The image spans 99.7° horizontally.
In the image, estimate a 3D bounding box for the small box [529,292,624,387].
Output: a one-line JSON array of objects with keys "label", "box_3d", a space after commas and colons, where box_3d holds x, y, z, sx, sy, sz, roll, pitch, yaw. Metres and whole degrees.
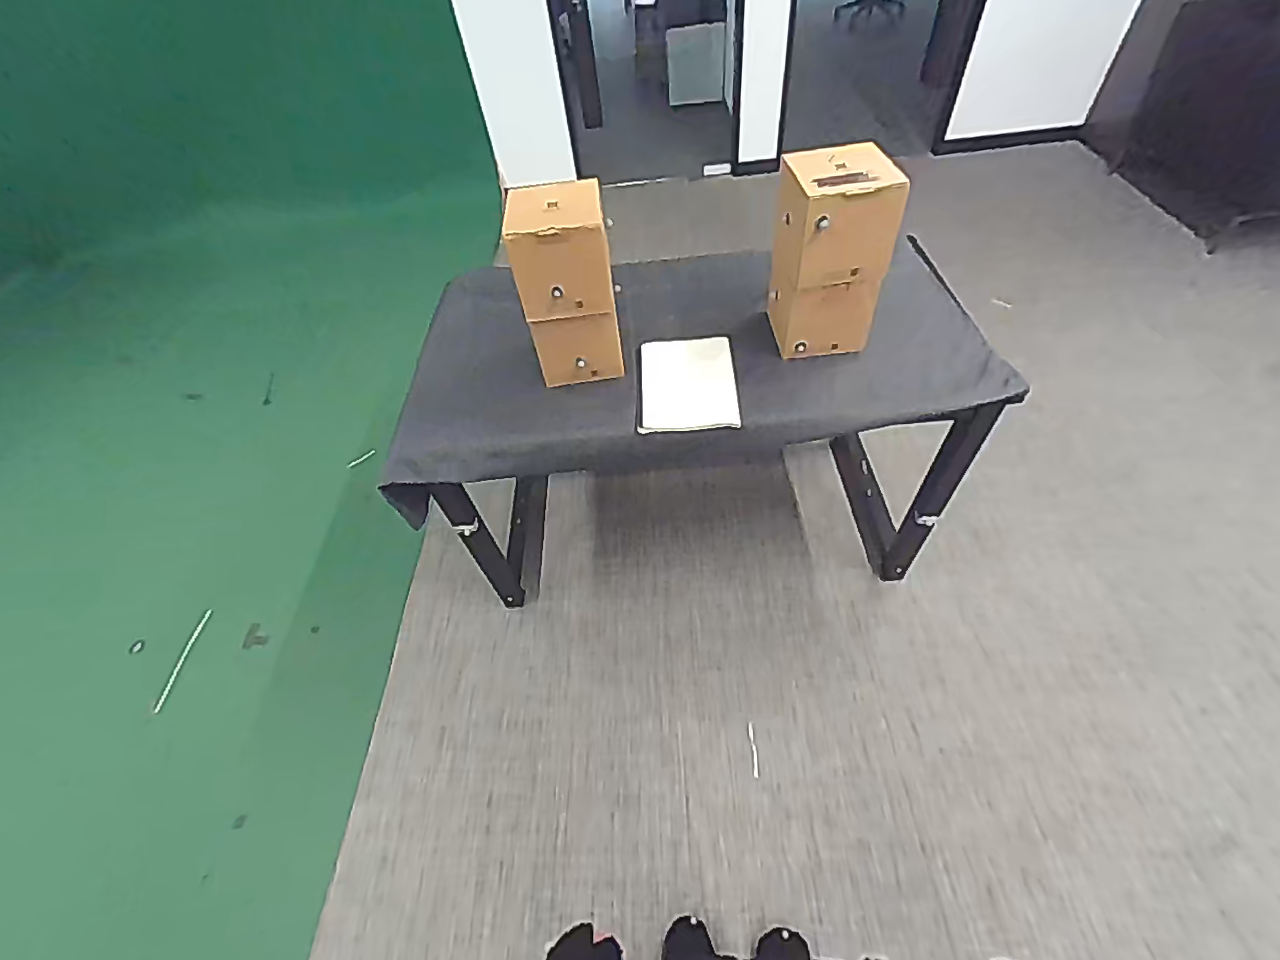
[{"label": "small box", "box_3d": [-0.129, -0.320, 1.125, 0.168, 0.176, 0.179, -9, 51, 0]}]

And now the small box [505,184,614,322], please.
[{"label": "small box", "box_3d": [-0.141, -0.415, 0.995, 0.168, 0.176, 0.179, -7, 50, 0]}]

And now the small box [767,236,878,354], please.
[{"label": "small box", "box_3d": [0.364, -0.373, 1.113, 0.168, 0.176, 0.179, -5, 50, 2]}]
